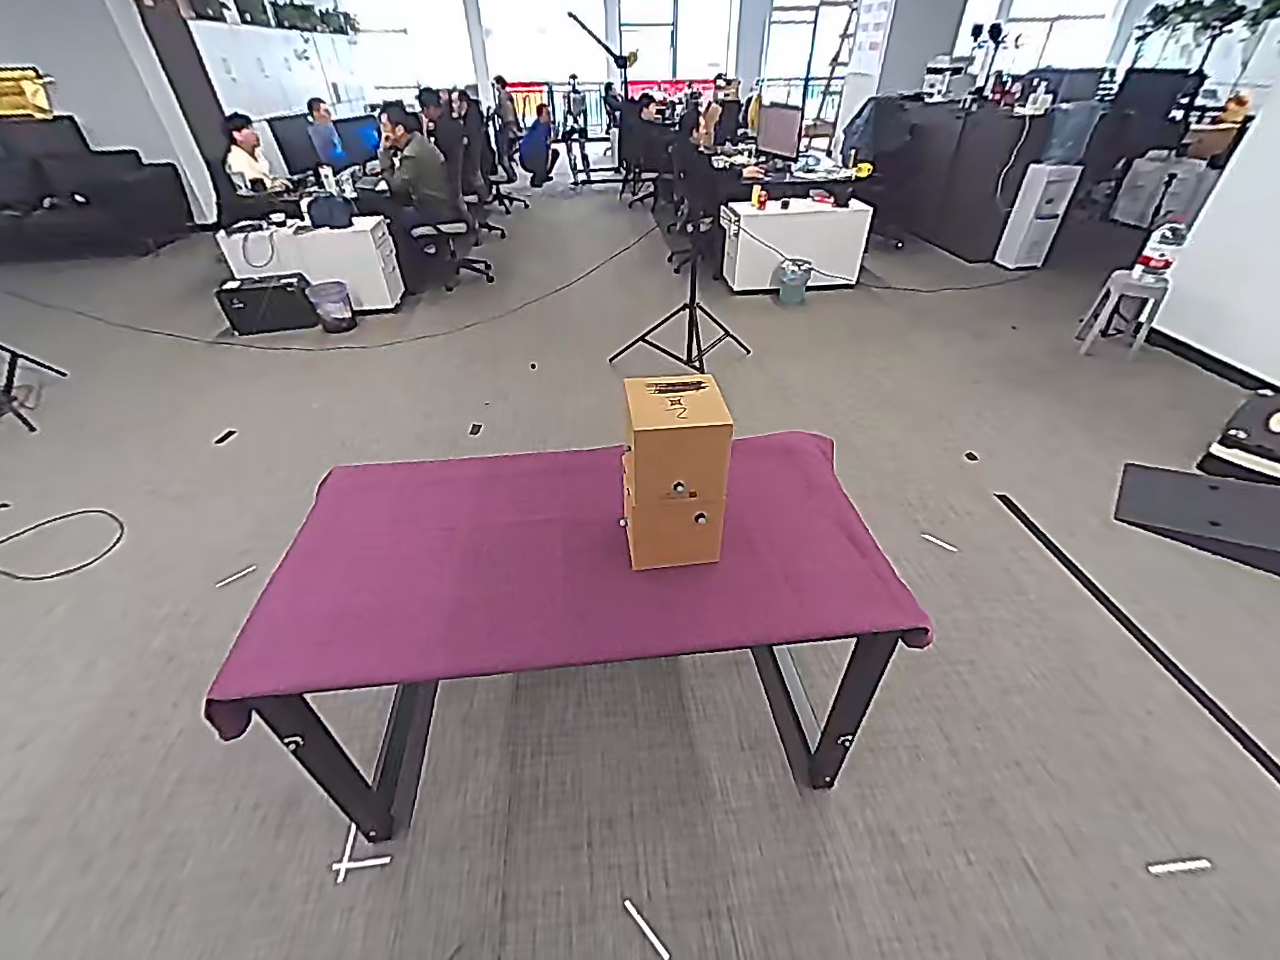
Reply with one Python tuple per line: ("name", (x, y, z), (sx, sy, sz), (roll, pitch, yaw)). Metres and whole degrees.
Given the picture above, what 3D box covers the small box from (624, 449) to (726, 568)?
("small box", (0.063, 0.057, 1.085), (0.179, 0.176, 0.168), (-6, 37, -5))
